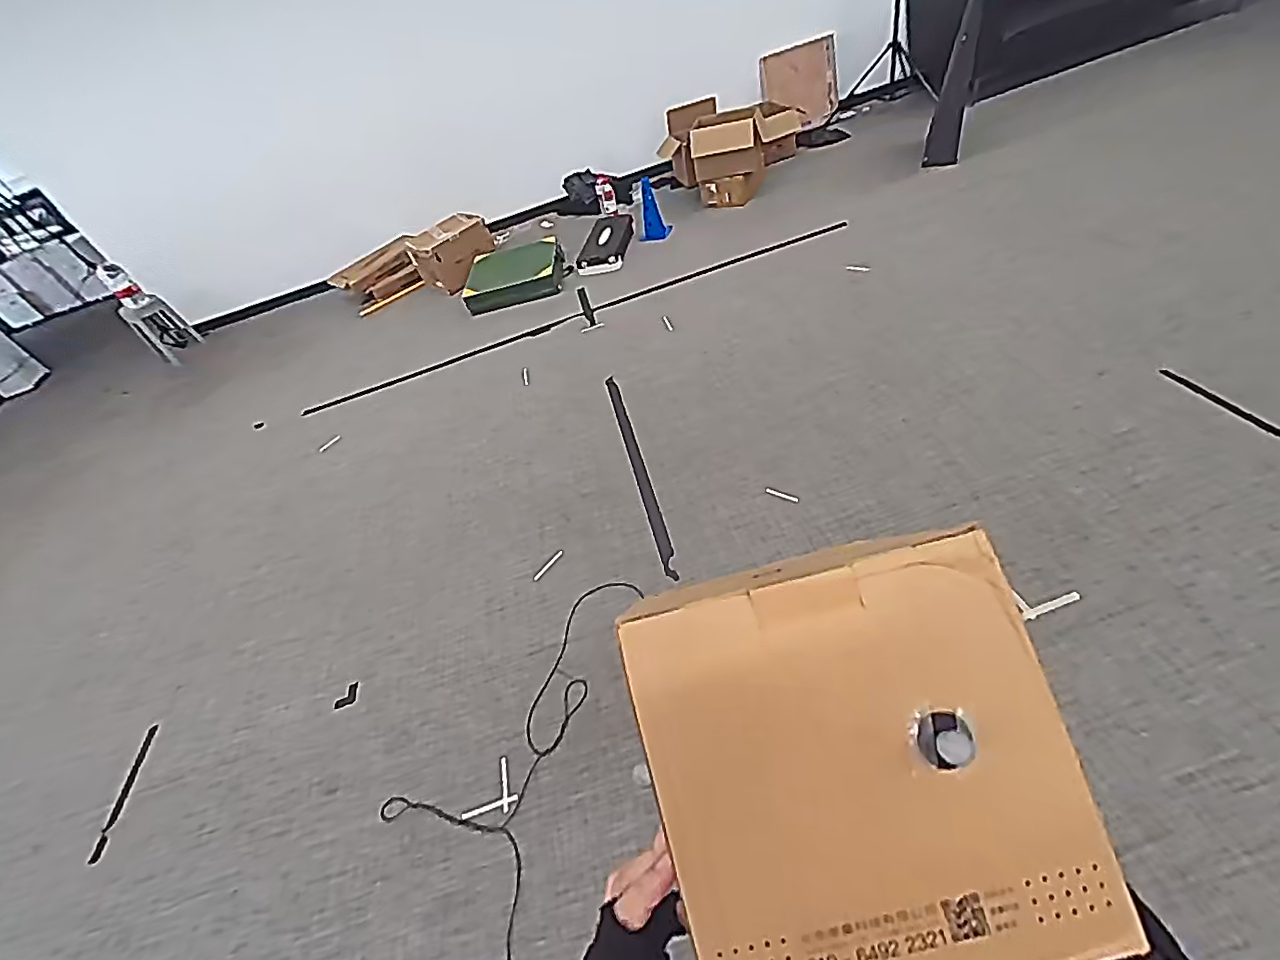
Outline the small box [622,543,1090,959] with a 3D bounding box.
[{"bbox_3d":[0.099,0.143,0.315,0.168,0.179,0.176,-16,79,4],"label":"small box"}]
